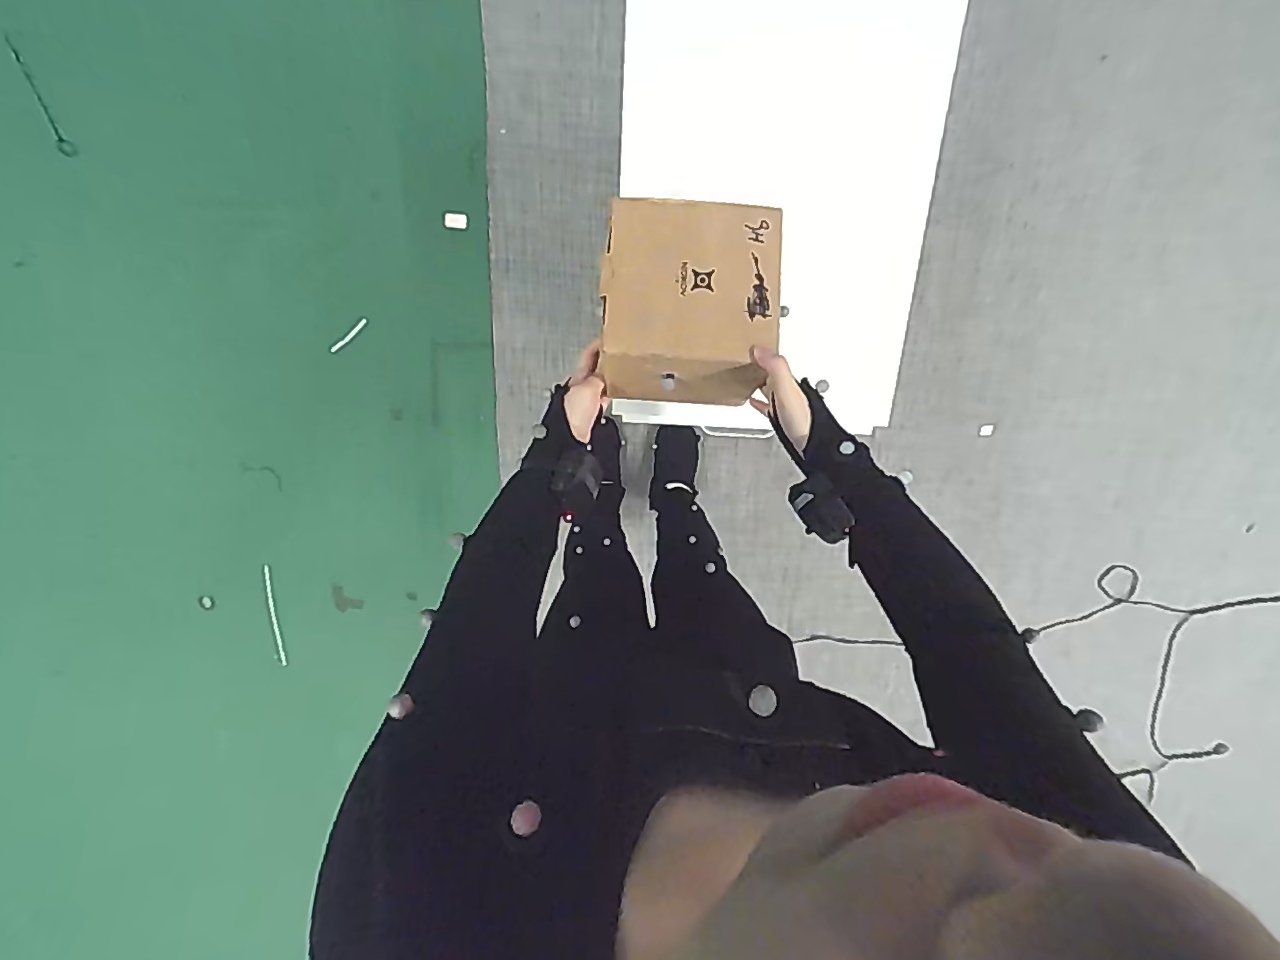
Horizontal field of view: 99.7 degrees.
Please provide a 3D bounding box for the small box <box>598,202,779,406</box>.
[{"bbox_3d":[0.049,-0.186,0.616,0.179,0.176,0.168,3,83,-1],"label":"small box"}]
